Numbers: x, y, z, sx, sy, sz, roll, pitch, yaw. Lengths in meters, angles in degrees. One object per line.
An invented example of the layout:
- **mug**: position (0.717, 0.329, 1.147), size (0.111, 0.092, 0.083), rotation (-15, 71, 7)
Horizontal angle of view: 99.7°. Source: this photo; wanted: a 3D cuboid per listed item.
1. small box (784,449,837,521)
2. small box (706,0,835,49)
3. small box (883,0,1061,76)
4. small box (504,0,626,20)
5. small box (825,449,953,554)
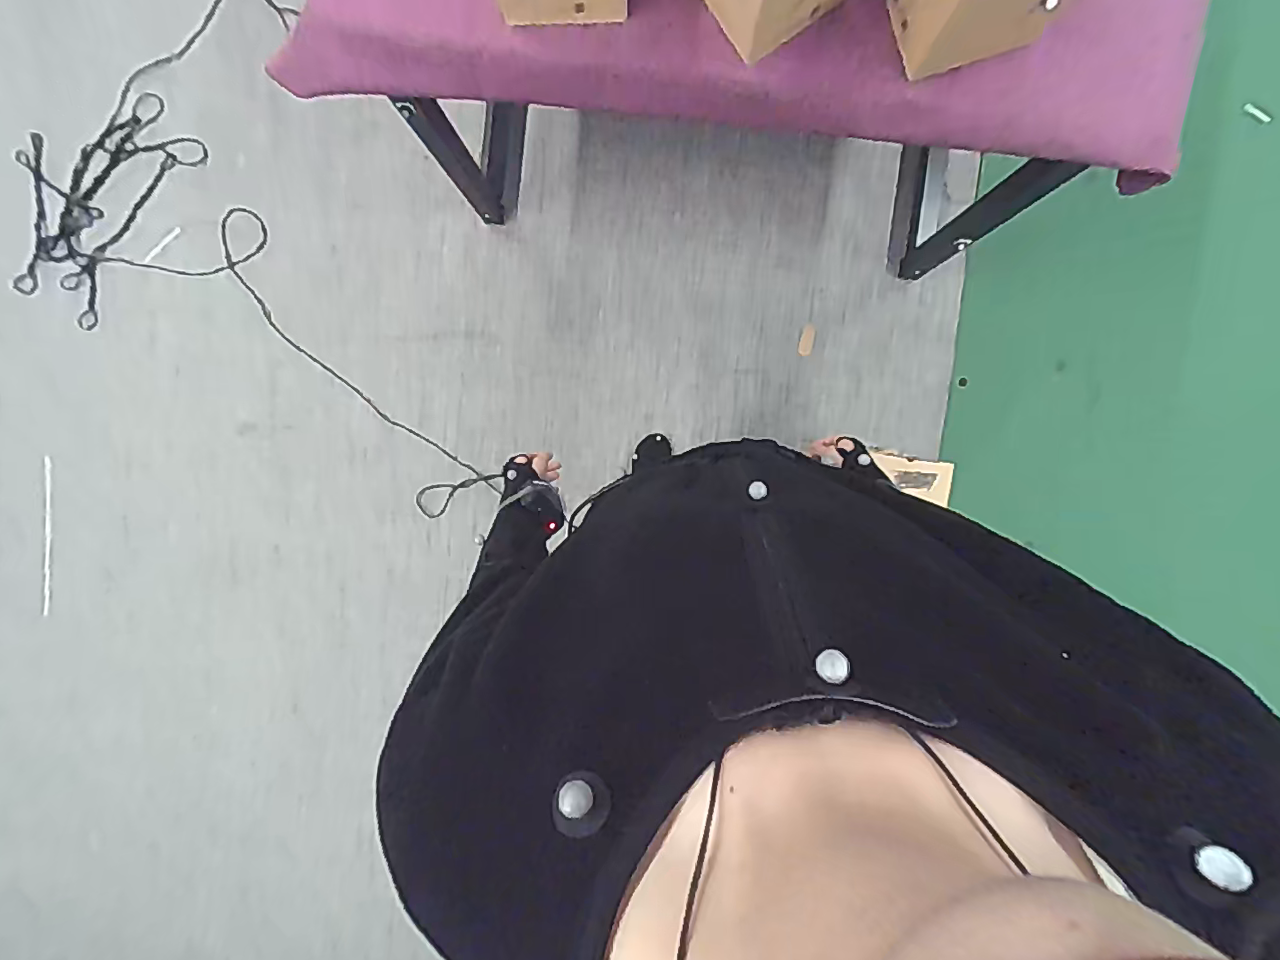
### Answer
- **small box**: position (0.496, 0.023, 1.415), size (0.179, 0.176, 0.168), rotation (17, 94, 1)
- **small box**: position (0.163, -0.678, 0.652), size (0.168, 0.176, 0.179), rotation (-34, 91, 2)
- **small box**: position (0.417, -0.640, 0.648), size (0.179, 0.176, 0.168), rotation (-16, 90, 3)
- **small box**: position (-0.104, -0.708, 0.659), size (0.168, 0.176, 0.179), rotation (0, 92, 2)
- **small box**: position (0.488, 0.035, 1.087), size (0.168, 0.176, 0.179), rotation (9, 95, 0)
